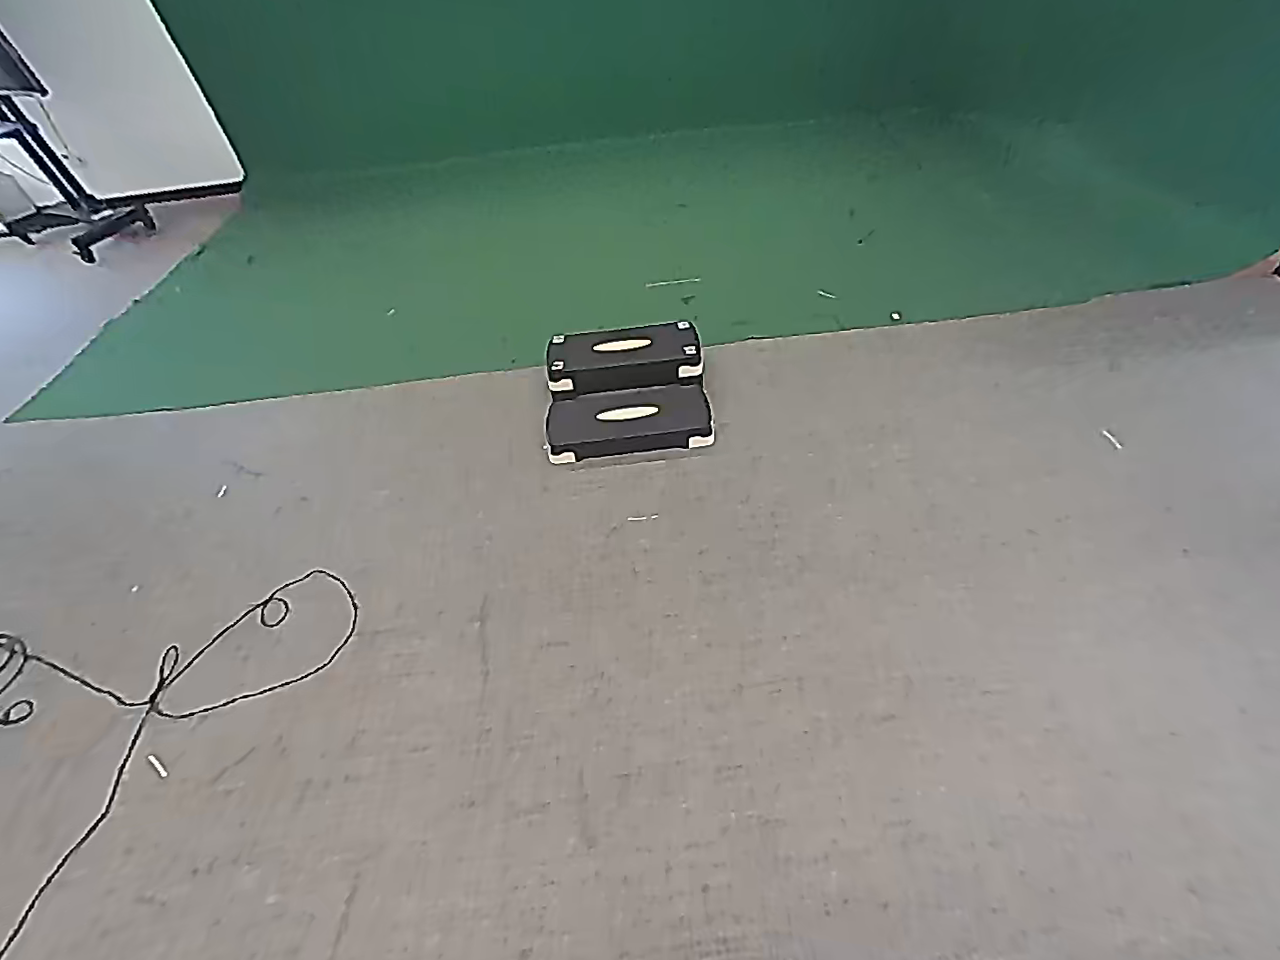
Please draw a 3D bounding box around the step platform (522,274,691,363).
[{"bbox_3d":[-0.131,-0.676,2.259,0.684,0.204,0.286,-7,48,1],"label":"step platform"}]
